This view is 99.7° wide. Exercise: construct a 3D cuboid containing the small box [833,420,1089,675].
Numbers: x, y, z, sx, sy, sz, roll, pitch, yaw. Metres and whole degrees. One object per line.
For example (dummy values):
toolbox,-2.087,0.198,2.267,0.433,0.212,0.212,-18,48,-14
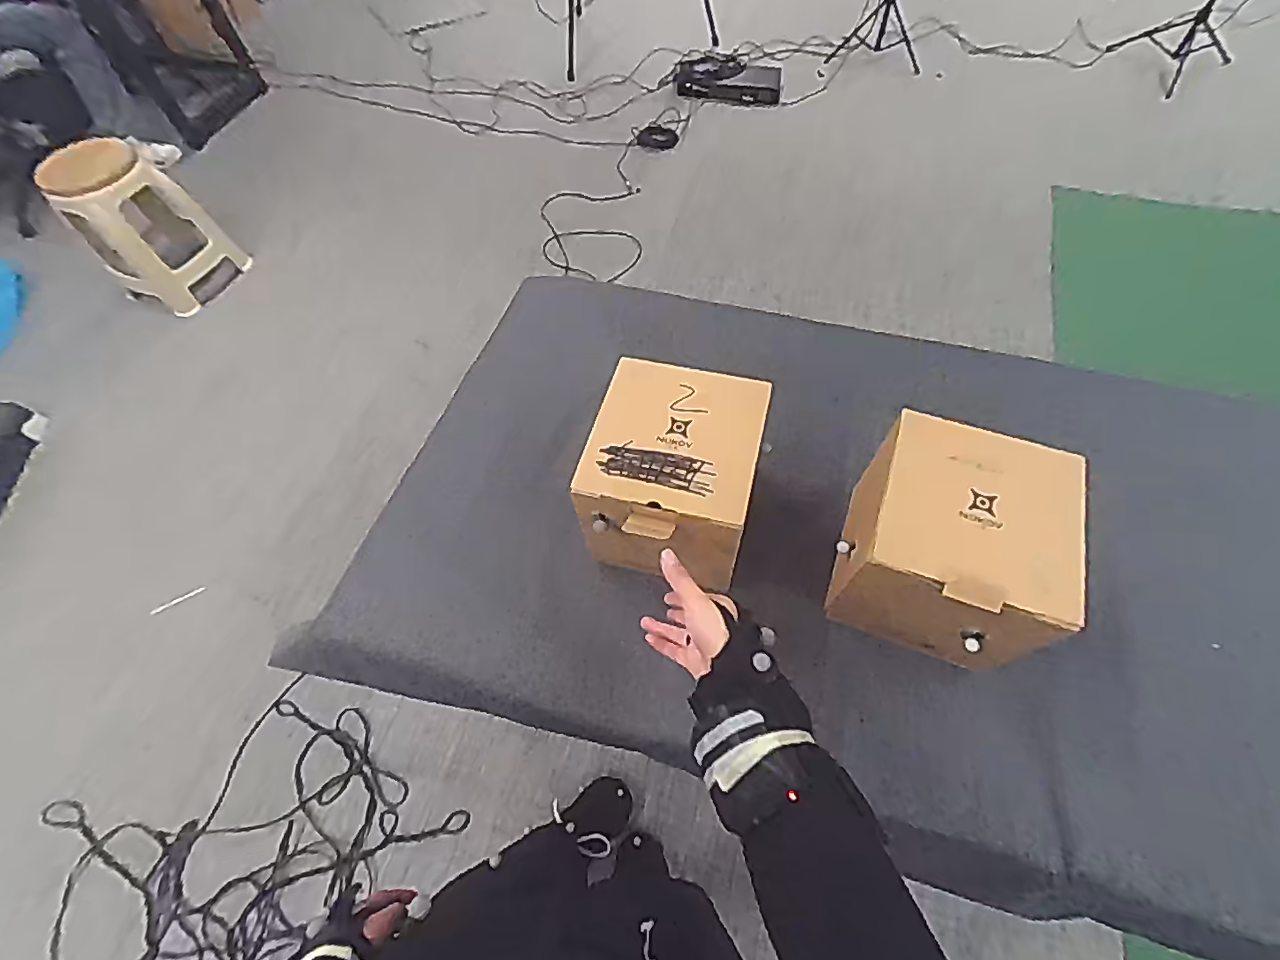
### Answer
small box,0.307,0.074,0.545,0.168,0.176,0.179,18,60,13
